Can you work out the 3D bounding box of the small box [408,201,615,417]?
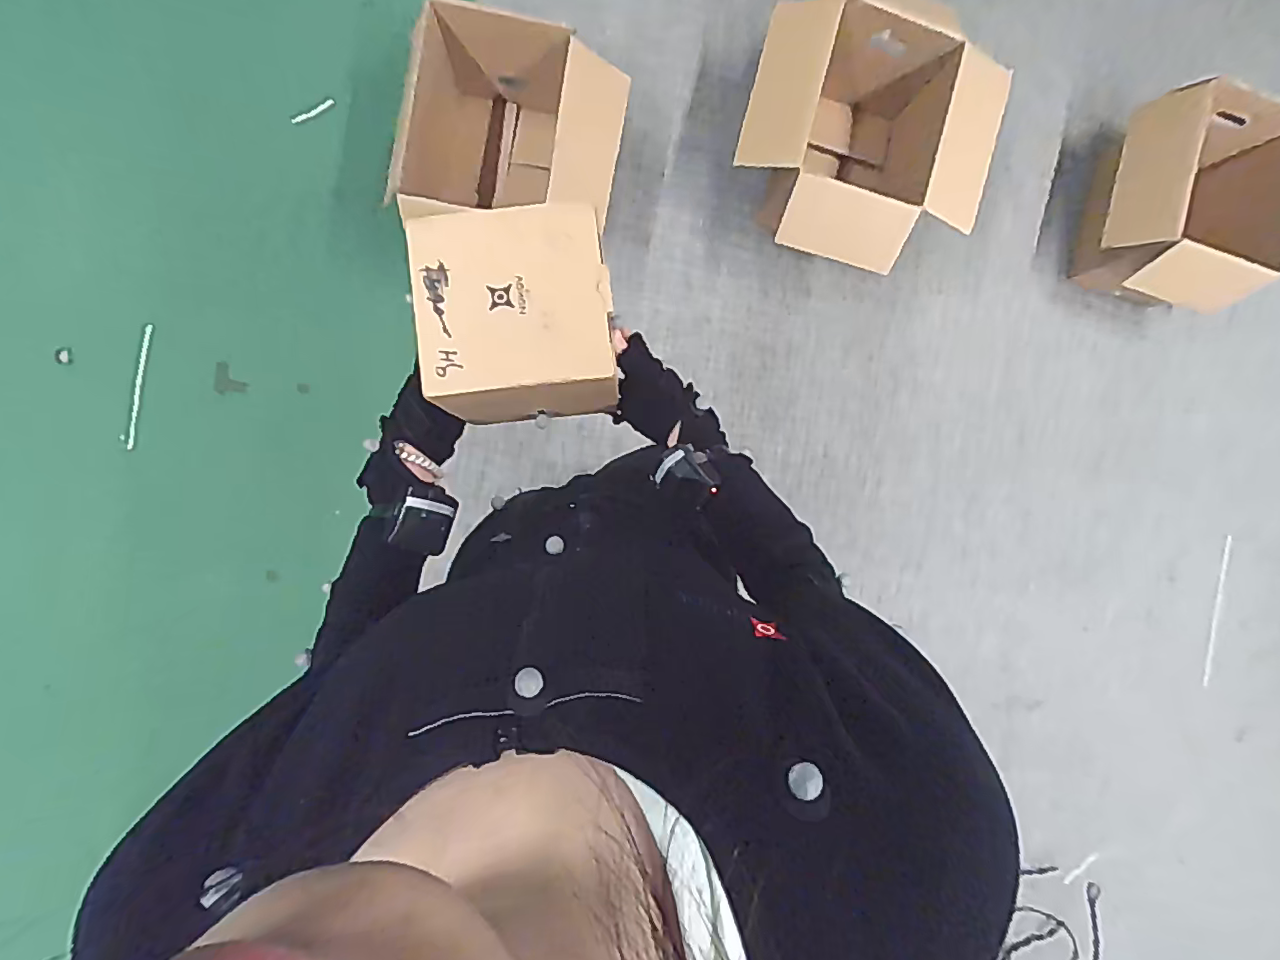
[{"bbox_3d":[-0.122,-0.165,0.570,0.179,0.176,0.168,-6,87,-3],"label":"small box"}]
